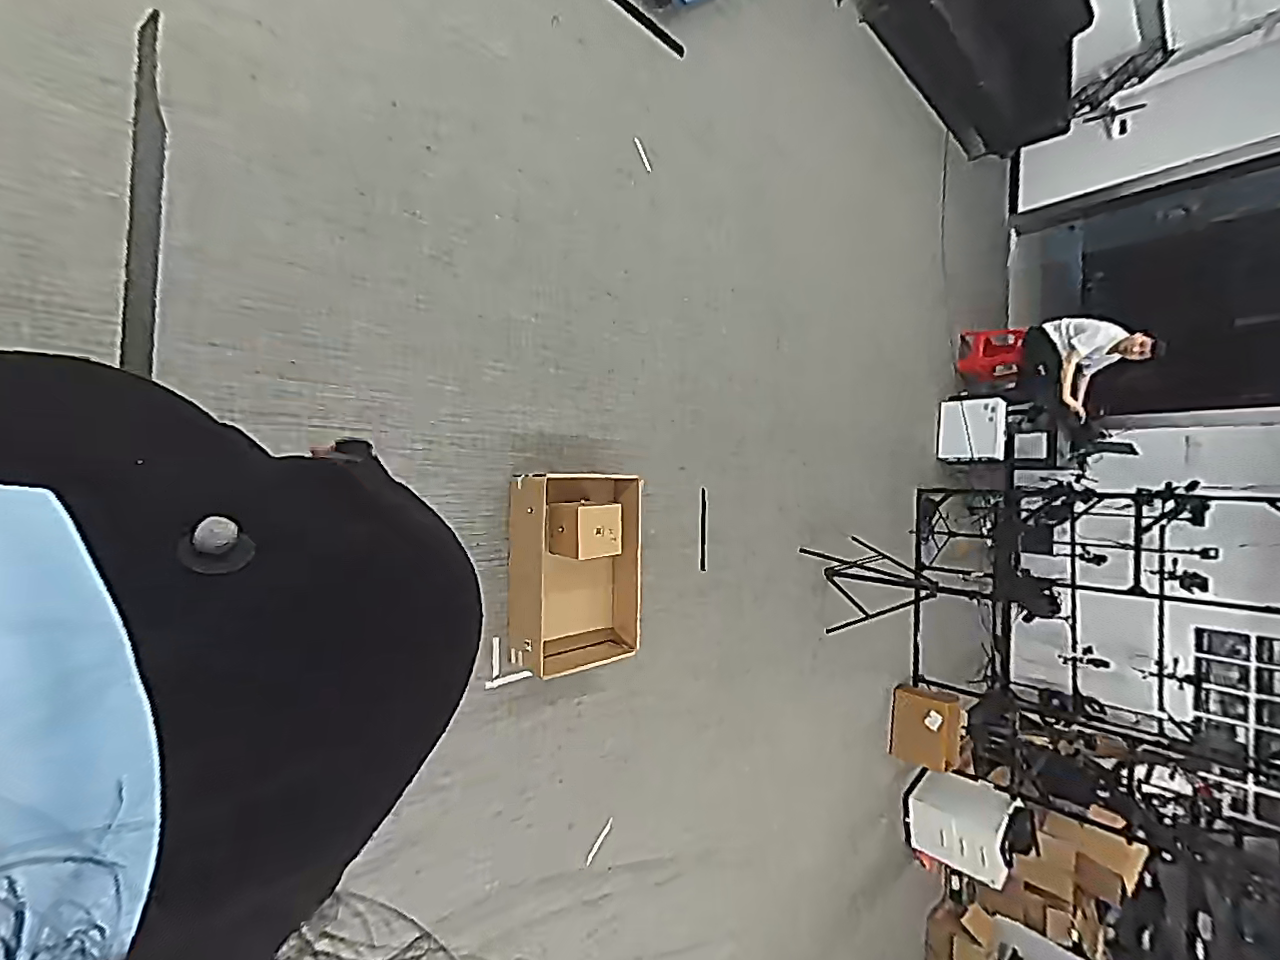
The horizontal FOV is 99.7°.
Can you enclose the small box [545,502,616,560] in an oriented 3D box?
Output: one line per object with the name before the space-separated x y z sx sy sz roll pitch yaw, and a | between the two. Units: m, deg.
small box | -0.195 0.161 1.759 0.179 0.176 0.168 -2 93 -43
